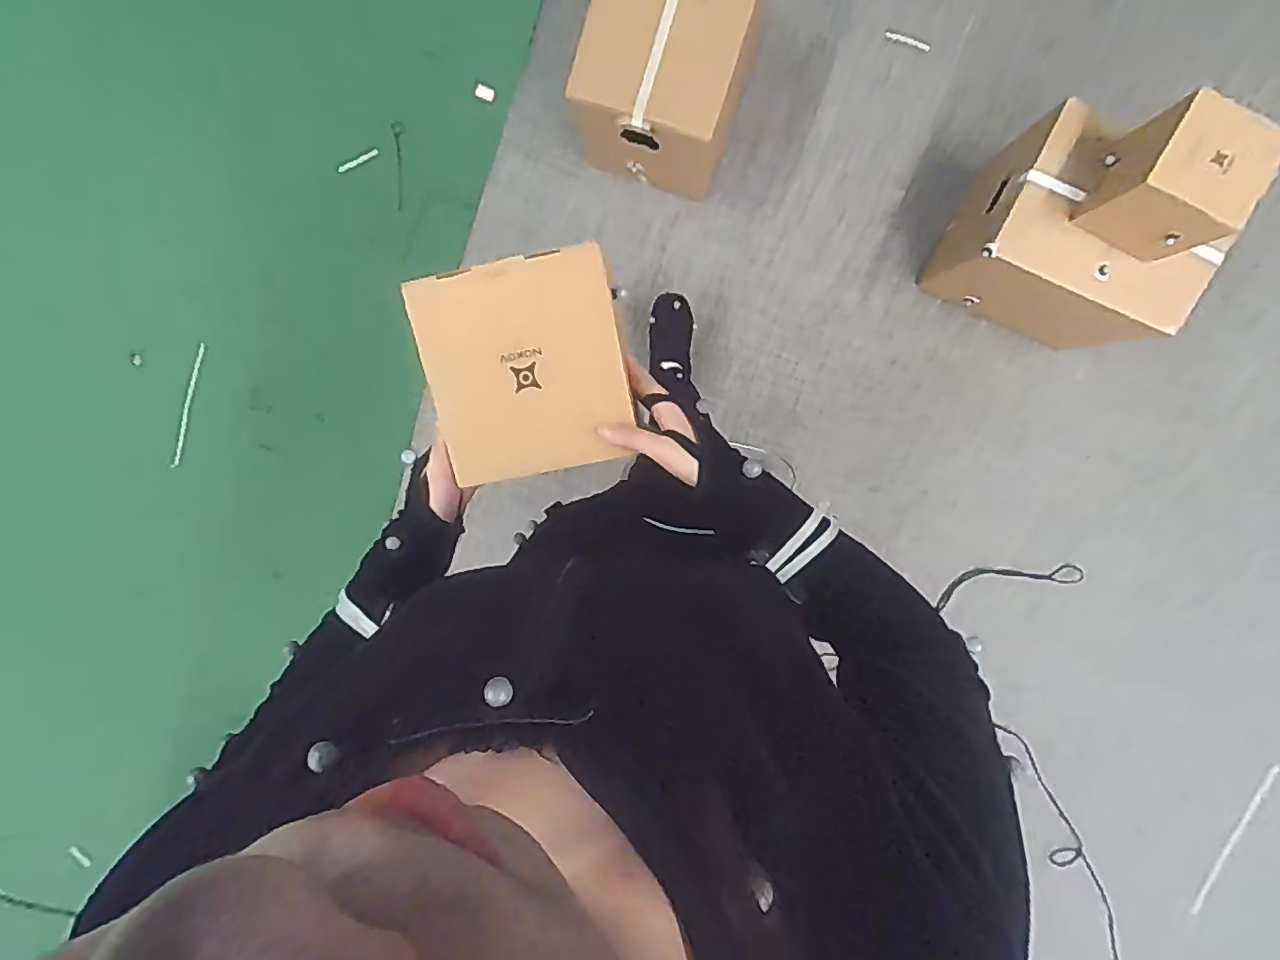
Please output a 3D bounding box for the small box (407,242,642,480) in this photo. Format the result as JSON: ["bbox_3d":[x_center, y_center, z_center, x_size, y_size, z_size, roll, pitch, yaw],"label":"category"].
[{"bbox_3d":[-0.092,-0.115,0.529,0.168,0.176,0.179,-10,104,3],"label":"small box"}]

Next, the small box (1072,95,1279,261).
[{"bbox_3d":[0.926,-0.507,0.942,0.179,0.176,0.168,29,96,0],"label":"small box"}]

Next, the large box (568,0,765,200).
[{"bbox_3d":[0.070,-0.916,1.197,0.320,0.320,0.408,19,98,2],"label":"large box"}]
